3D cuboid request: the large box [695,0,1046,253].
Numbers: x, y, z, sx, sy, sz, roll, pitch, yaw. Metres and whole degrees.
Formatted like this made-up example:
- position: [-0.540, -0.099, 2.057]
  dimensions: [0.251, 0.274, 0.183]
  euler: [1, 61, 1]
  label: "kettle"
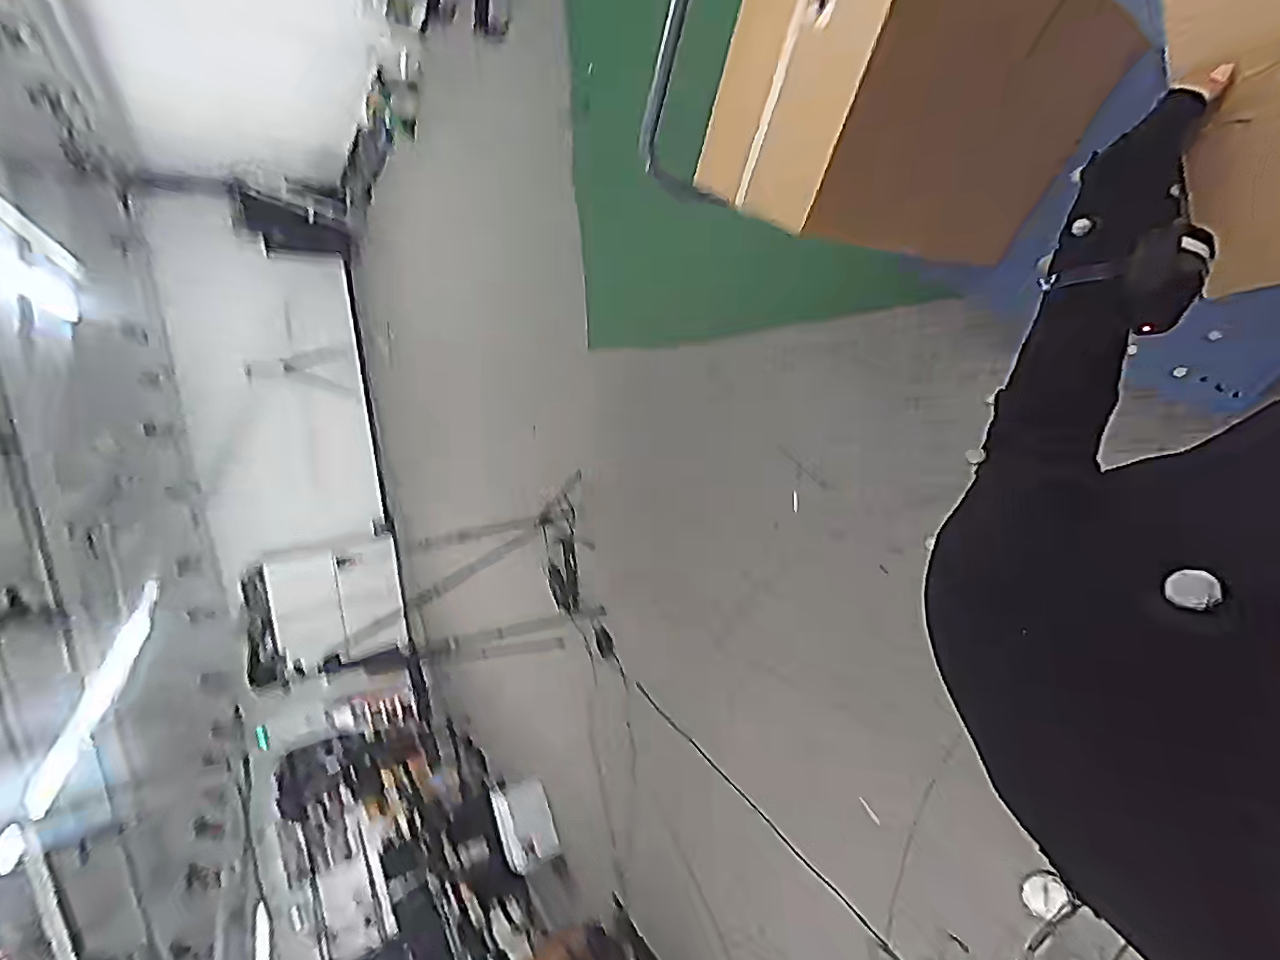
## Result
- position: [0.343, -0.630, 0.870]
  dimensions: [0.320, 0.320, 0.408]
  euler: [53, 138, 41]
  label: "large box"
